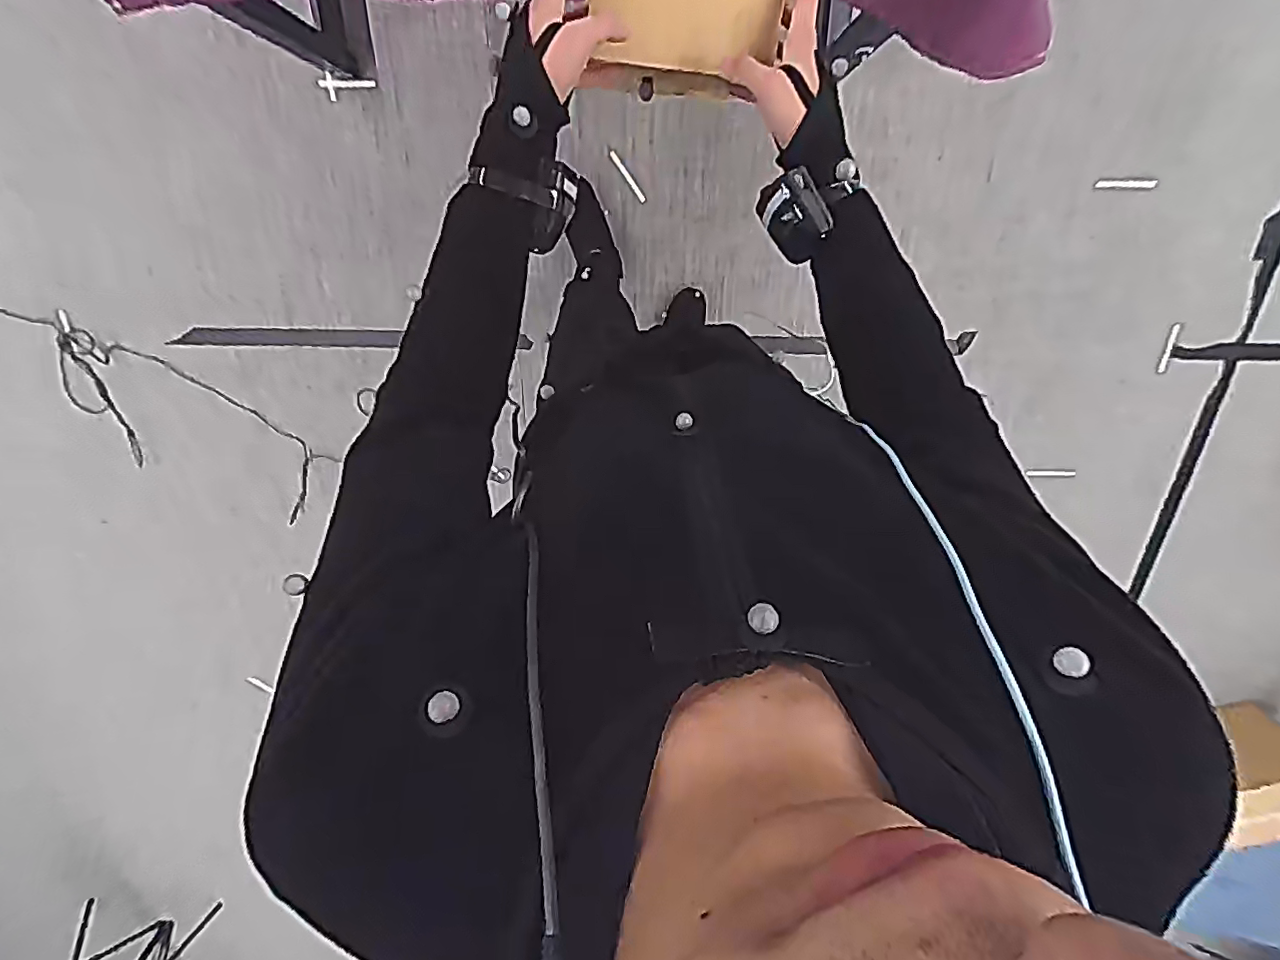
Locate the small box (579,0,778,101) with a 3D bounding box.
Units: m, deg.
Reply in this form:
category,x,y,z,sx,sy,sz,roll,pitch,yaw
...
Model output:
category,x,y,z,sx,sy,sz,roll,pitch,yaw
small box,0.032,-0.468,0.496,0.168,0.176,0.179,2,117,-7
